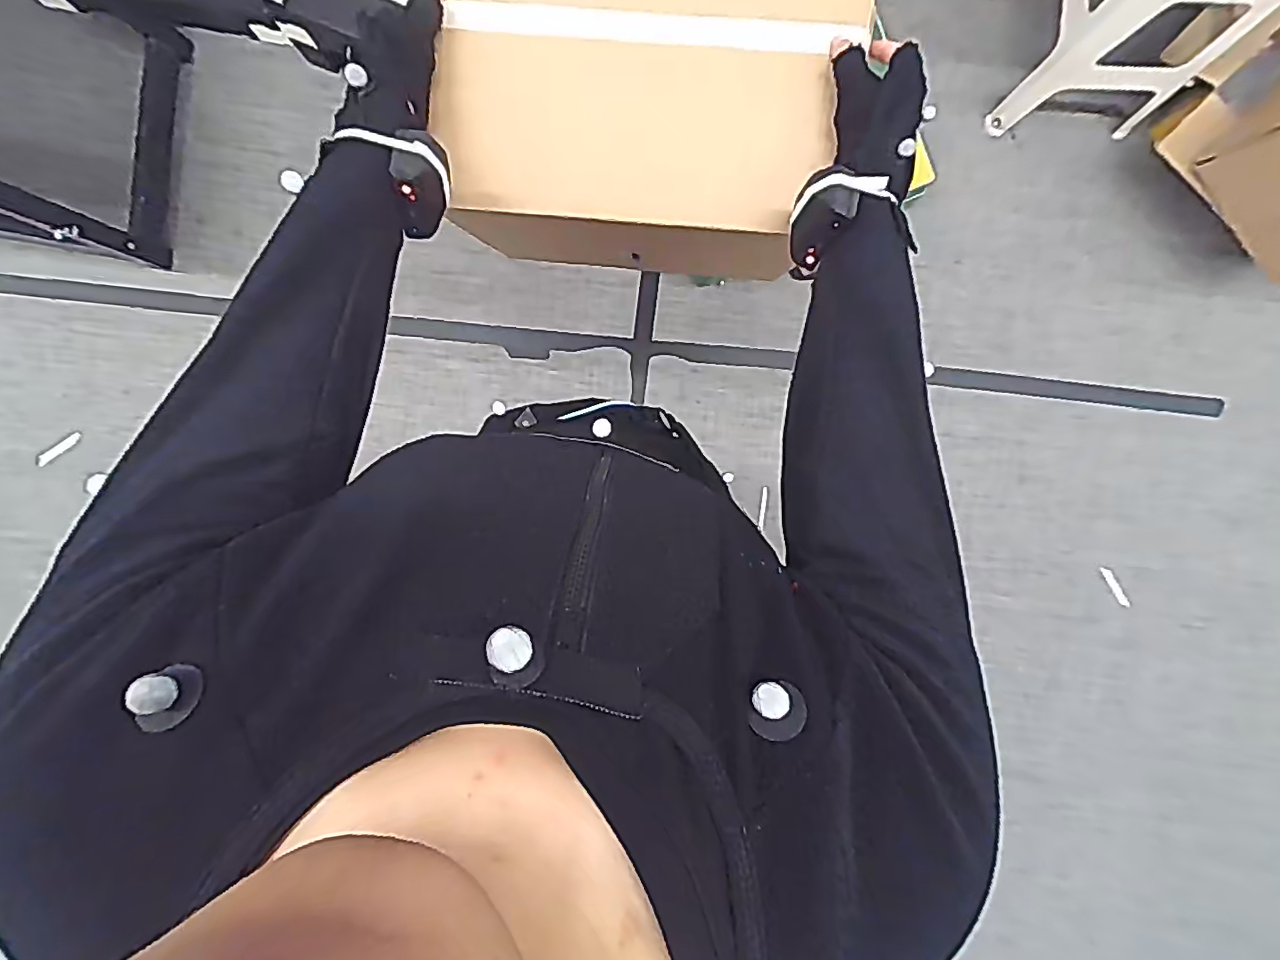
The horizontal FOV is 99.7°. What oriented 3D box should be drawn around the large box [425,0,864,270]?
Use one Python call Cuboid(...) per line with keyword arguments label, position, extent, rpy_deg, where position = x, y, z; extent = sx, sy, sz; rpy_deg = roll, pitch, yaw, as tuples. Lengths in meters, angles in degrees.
Cuboid(label="large box", position=(0.008, -0.437, 0.636), extent=(0.408, 0.320, 0.320), rpy_deg=(5, 103, 2))
